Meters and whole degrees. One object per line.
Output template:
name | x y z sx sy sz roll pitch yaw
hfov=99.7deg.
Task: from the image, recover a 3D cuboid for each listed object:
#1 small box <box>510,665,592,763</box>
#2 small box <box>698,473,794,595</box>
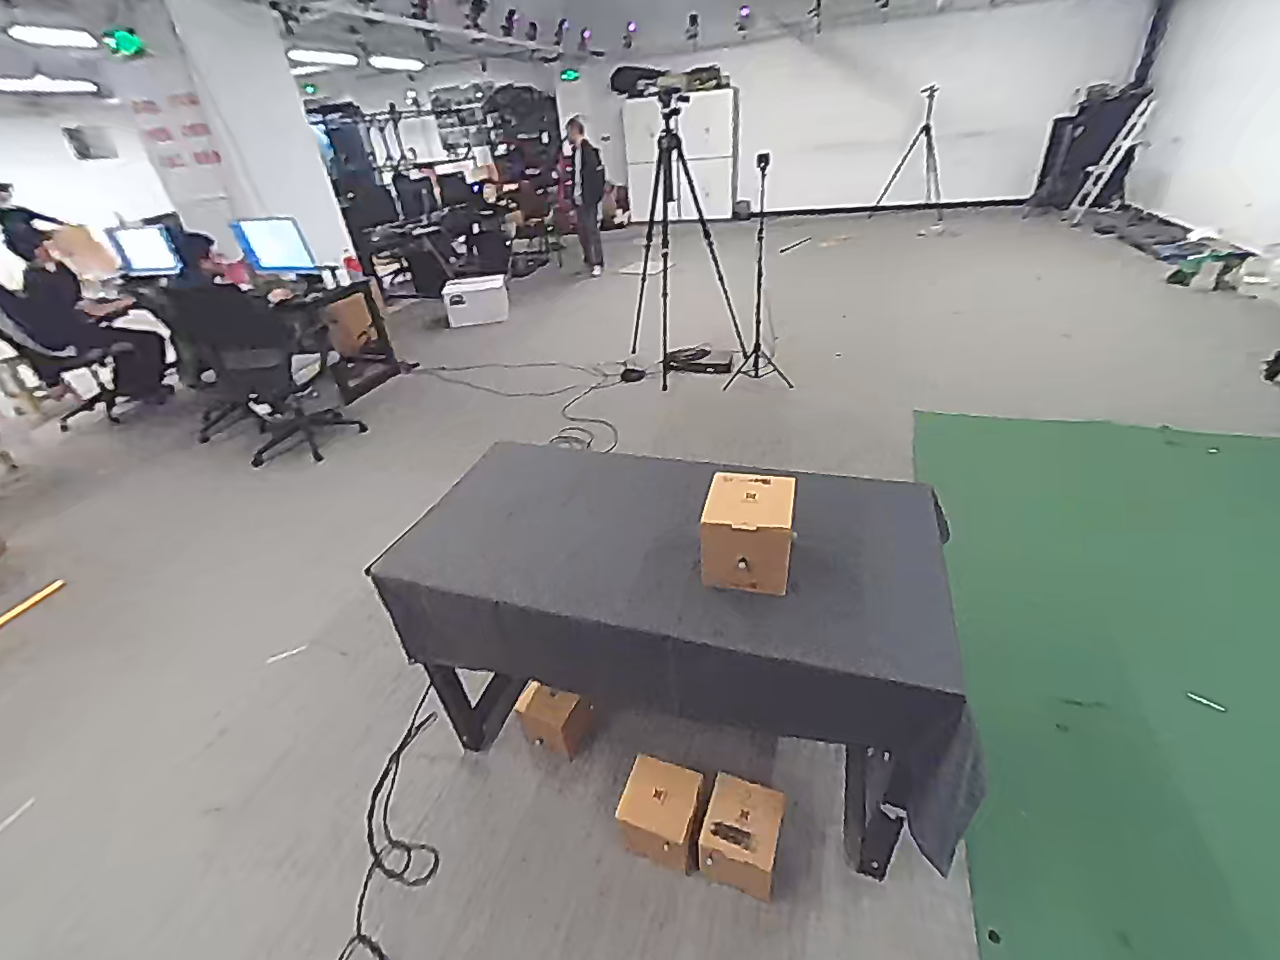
small box | -0.255 0.689 1.598 0.168 0.176 0.179 11 36 25
small box | 0.217 0.108 1.089 0.168 0.176 0.179 5 35 16
